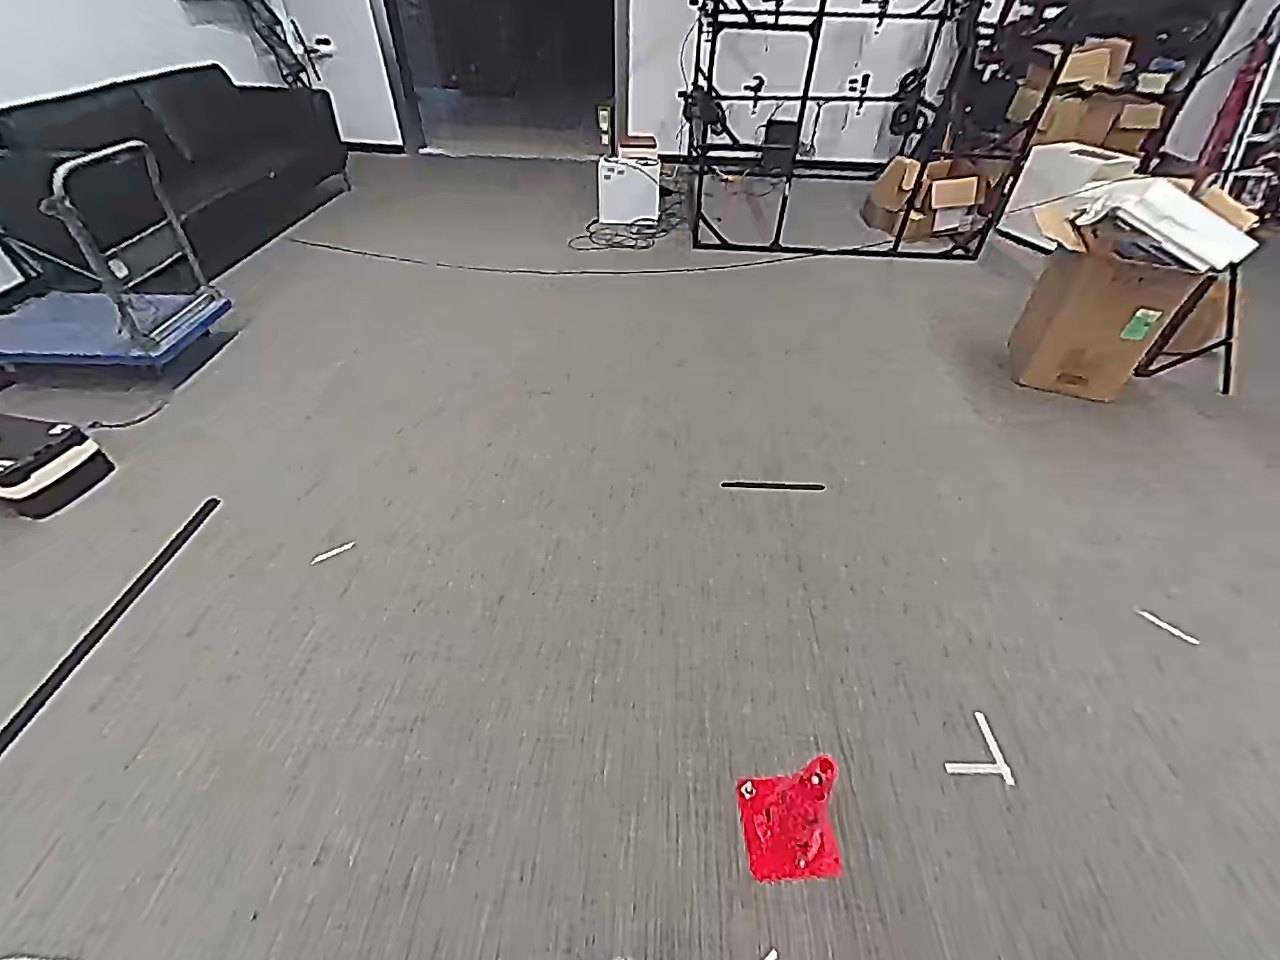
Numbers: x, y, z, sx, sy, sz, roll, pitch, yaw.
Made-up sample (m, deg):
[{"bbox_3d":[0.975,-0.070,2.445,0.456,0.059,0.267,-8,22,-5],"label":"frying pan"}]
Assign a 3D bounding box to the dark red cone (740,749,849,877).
[{"bbox_3d":[0.335,0.627,1.073,0.202,0.394,0.201,-2,44,-5],"label":"dark red cone"}]
